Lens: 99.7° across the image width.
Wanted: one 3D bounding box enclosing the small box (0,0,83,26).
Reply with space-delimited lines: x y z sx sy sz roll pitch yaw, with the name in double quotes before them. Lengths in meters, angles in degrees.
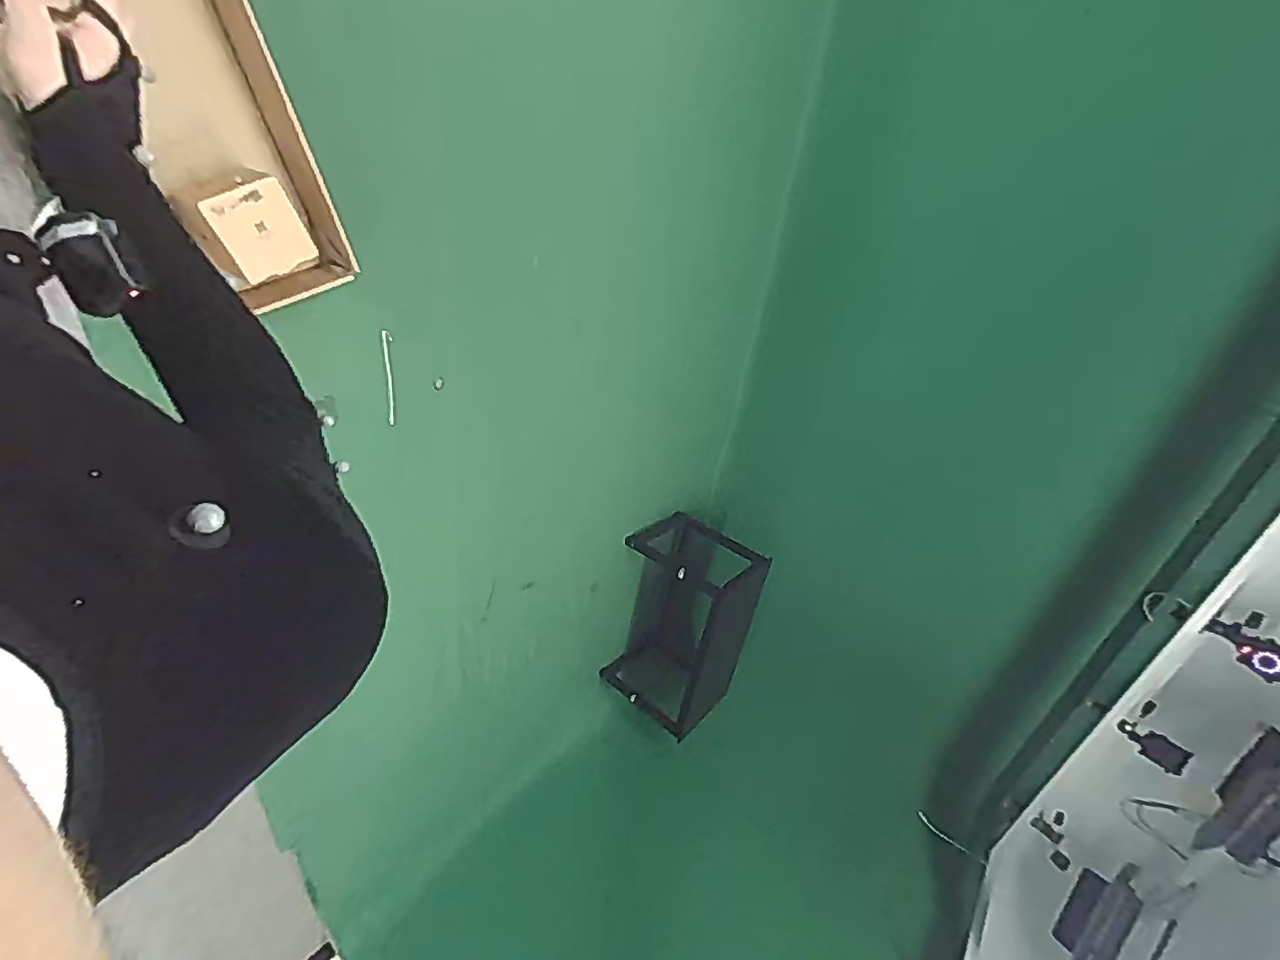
"small box" -0.512 -0.431 0.351 0.179 0.176 0.168 -15 127 -46
